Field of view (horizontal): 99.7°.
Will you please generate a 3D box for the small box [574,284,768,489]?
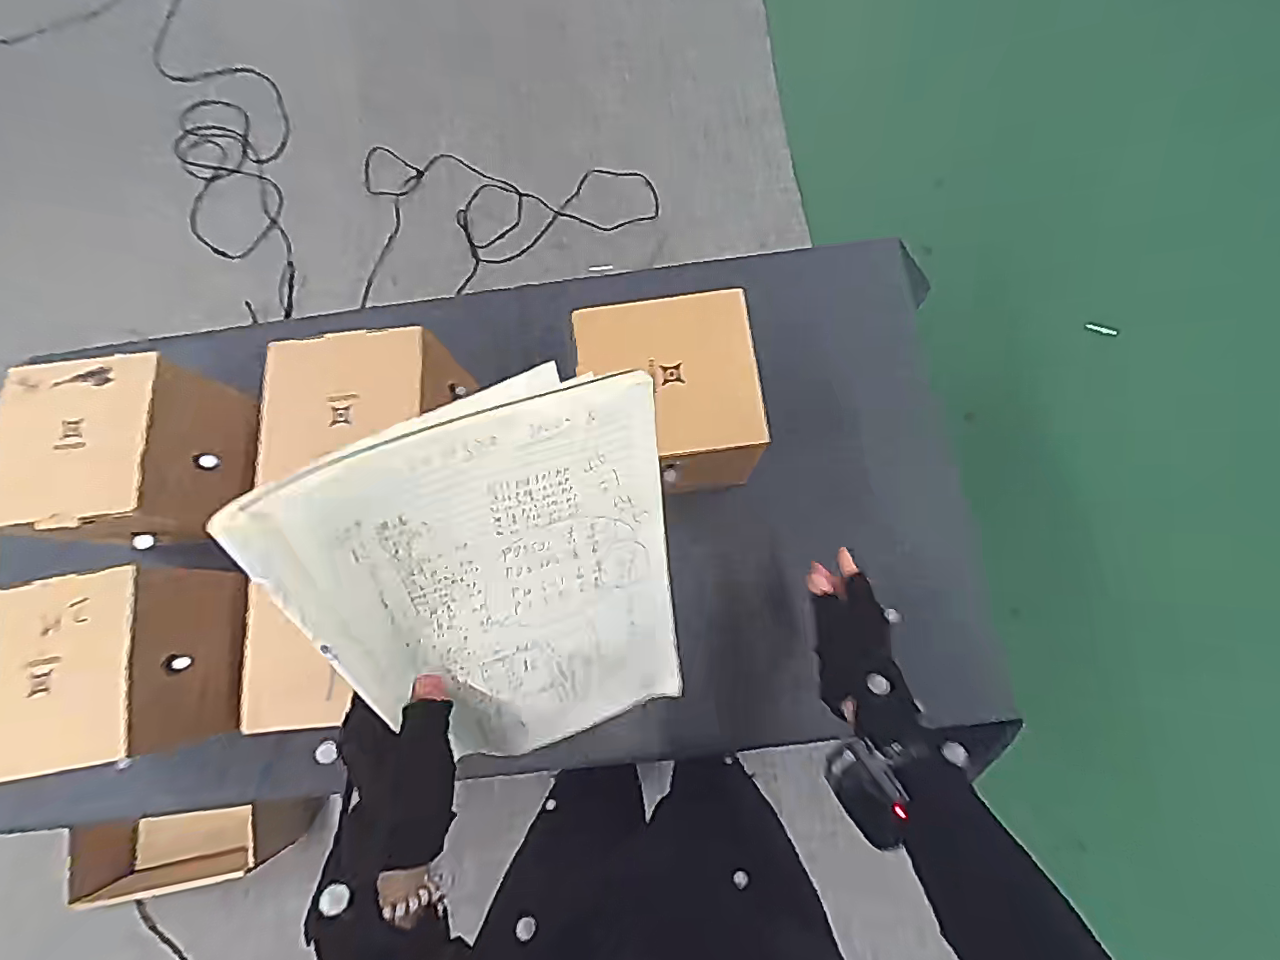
[{"bbox_3d":[0.032,-0.092,0.605,0.179,0.176,0.168,-7,77,3],"label":"small box"}]
